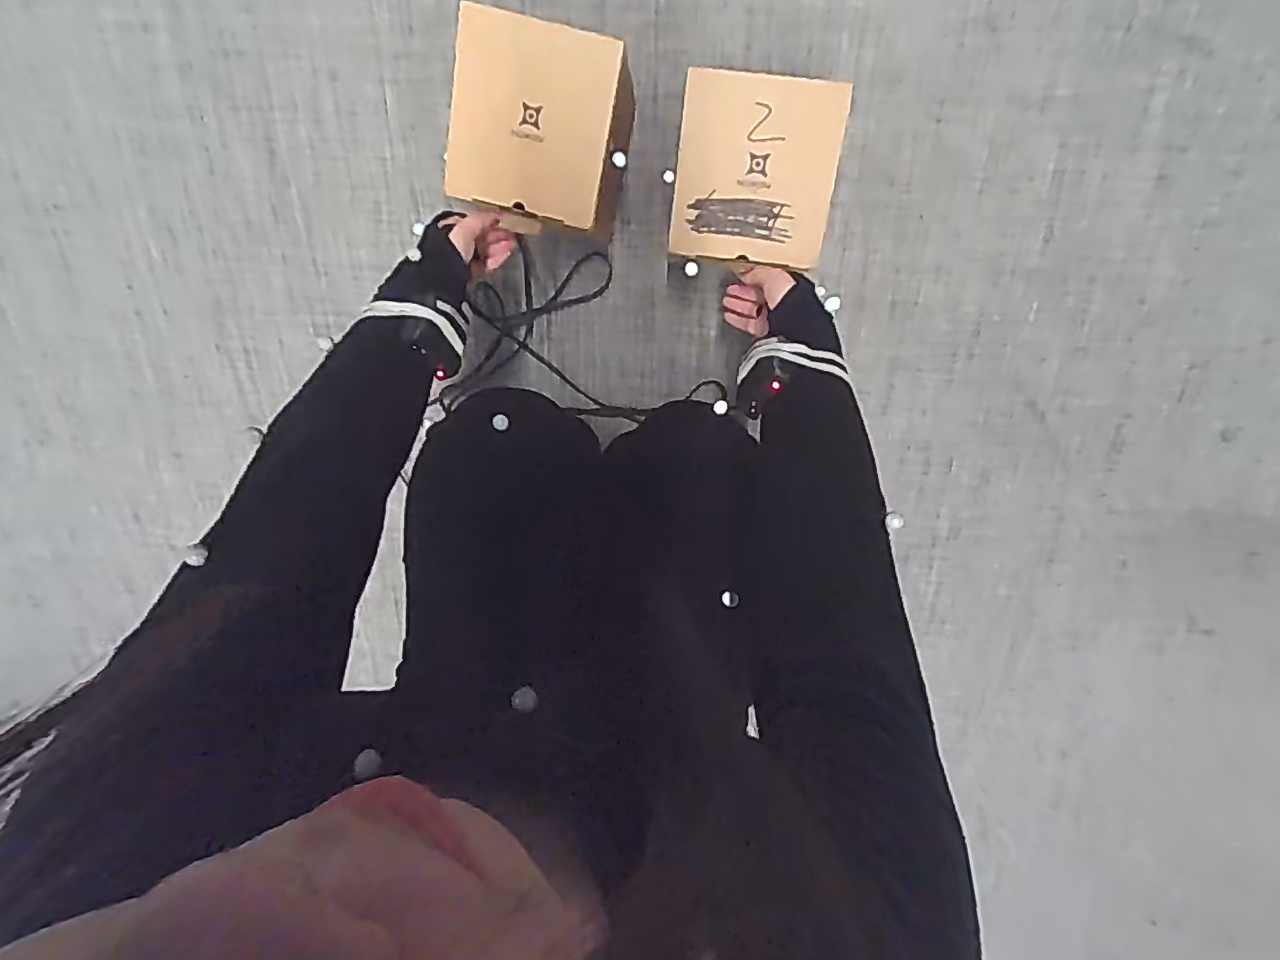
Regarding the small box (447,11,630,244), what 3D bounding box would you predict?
[{"bbox_3d":[-0.109,-0.393,0.639,0.168,0.176,0.179,14,111,-2],"label":"small box"}]
